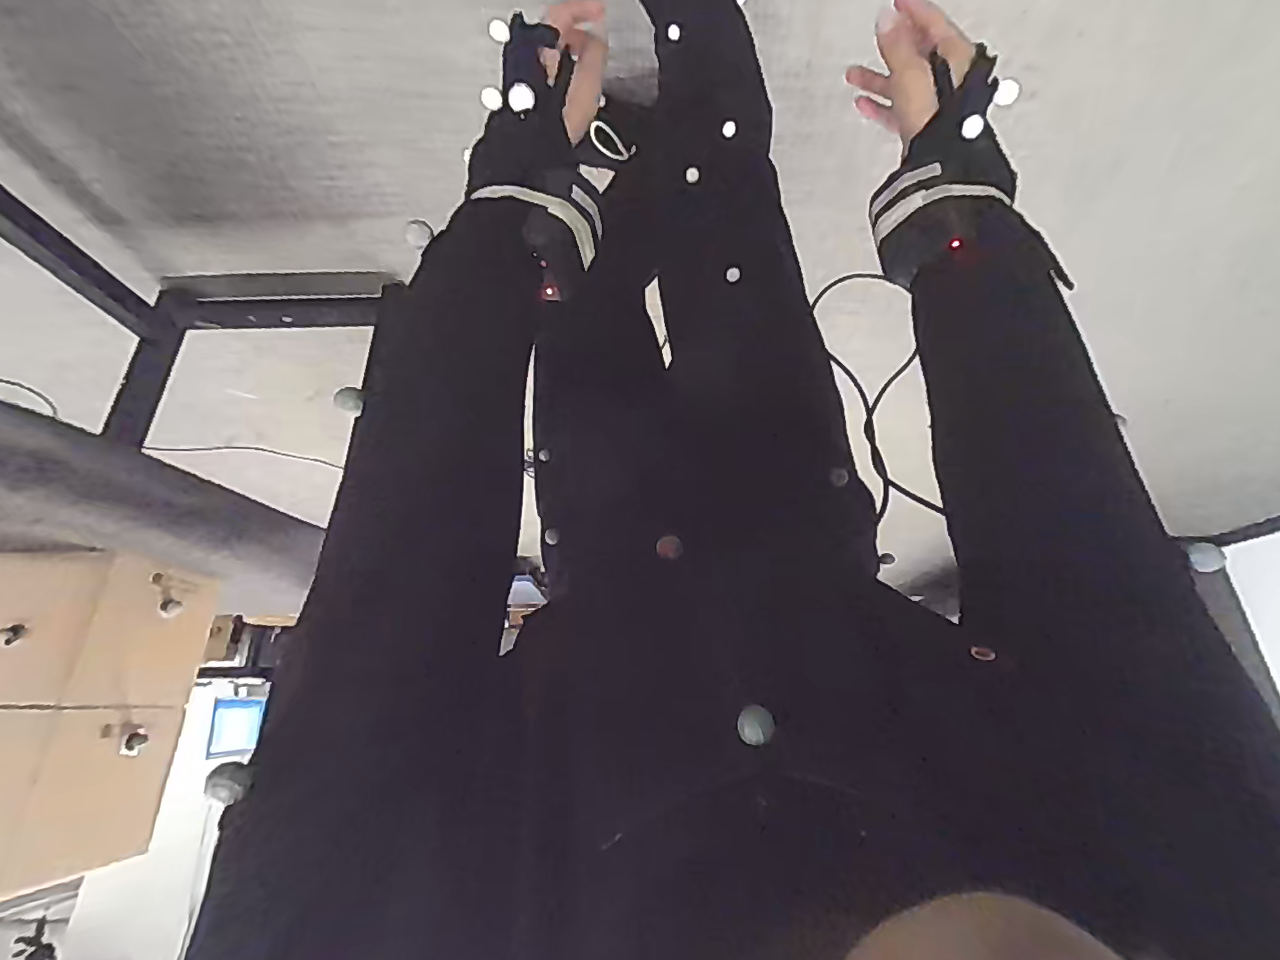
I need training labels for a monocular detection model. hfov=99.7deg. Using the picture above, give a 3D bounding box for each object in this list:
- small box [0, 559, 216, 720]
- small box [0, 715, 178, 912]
[{"bbox_3d":[-0.668,0.196,0.650,0.179,0.176,0.168,-2,158,2],"label":"small box"},{"bbox_3d":[-0.665,0.345,0.588,0.179,0.176,0.168,-3,158,2],"label":"small box"}]
